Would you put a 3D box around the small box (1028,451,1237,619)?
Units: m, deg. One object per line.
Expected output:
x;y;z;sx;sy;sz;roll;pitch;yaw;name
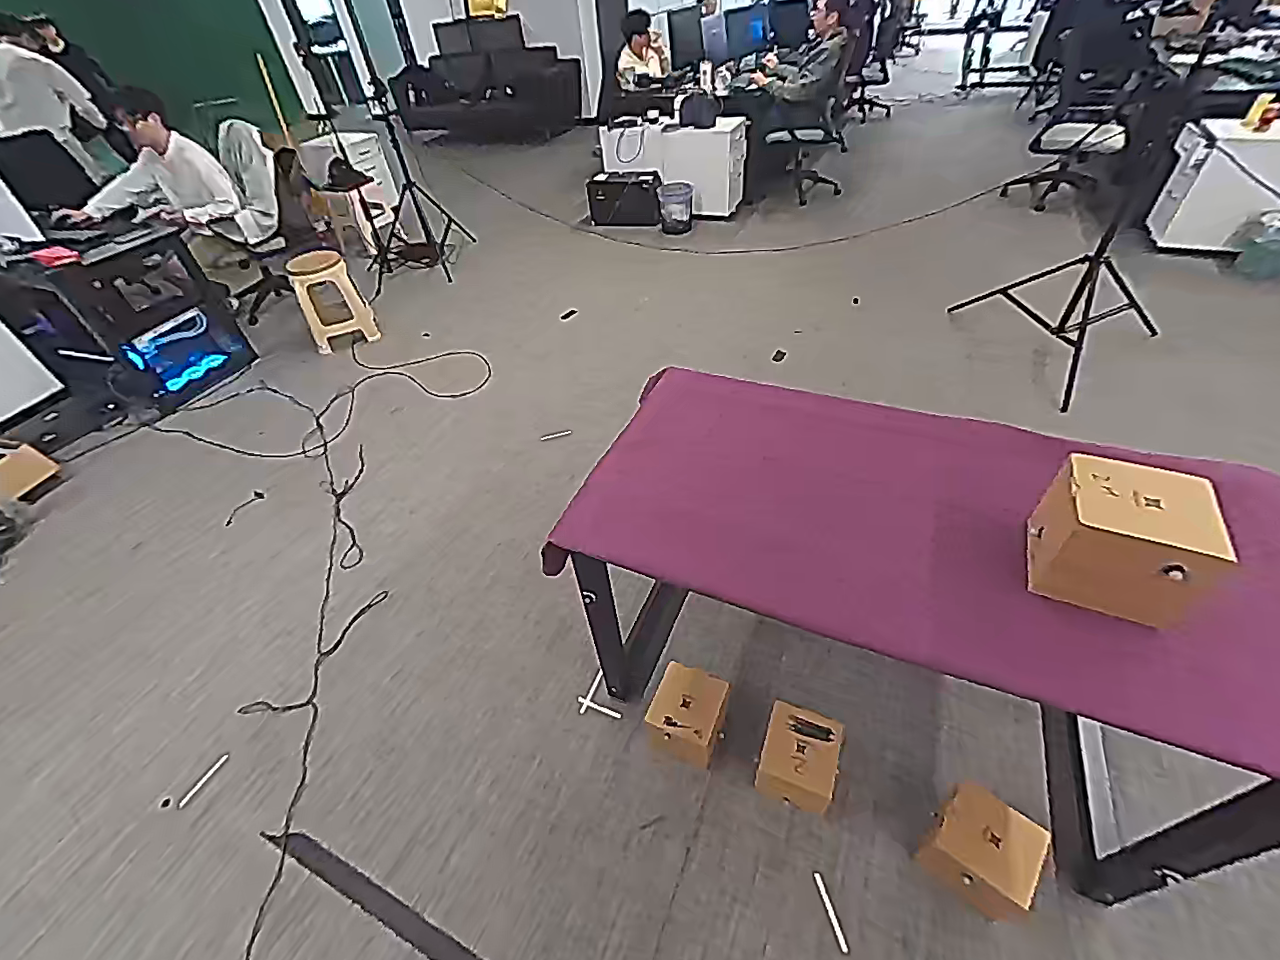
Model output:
0.729;0.086;0.826;0.179;0.176;0.168;15;47;22;small box

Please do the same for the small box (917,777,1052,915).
0.729;0.786;1.157;0.179;0.176;0.168;28;54;32;small box

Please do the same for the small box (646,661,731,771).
0.127;0.614;1.406;0.168;0.176;0.179;16;47;22;small box
